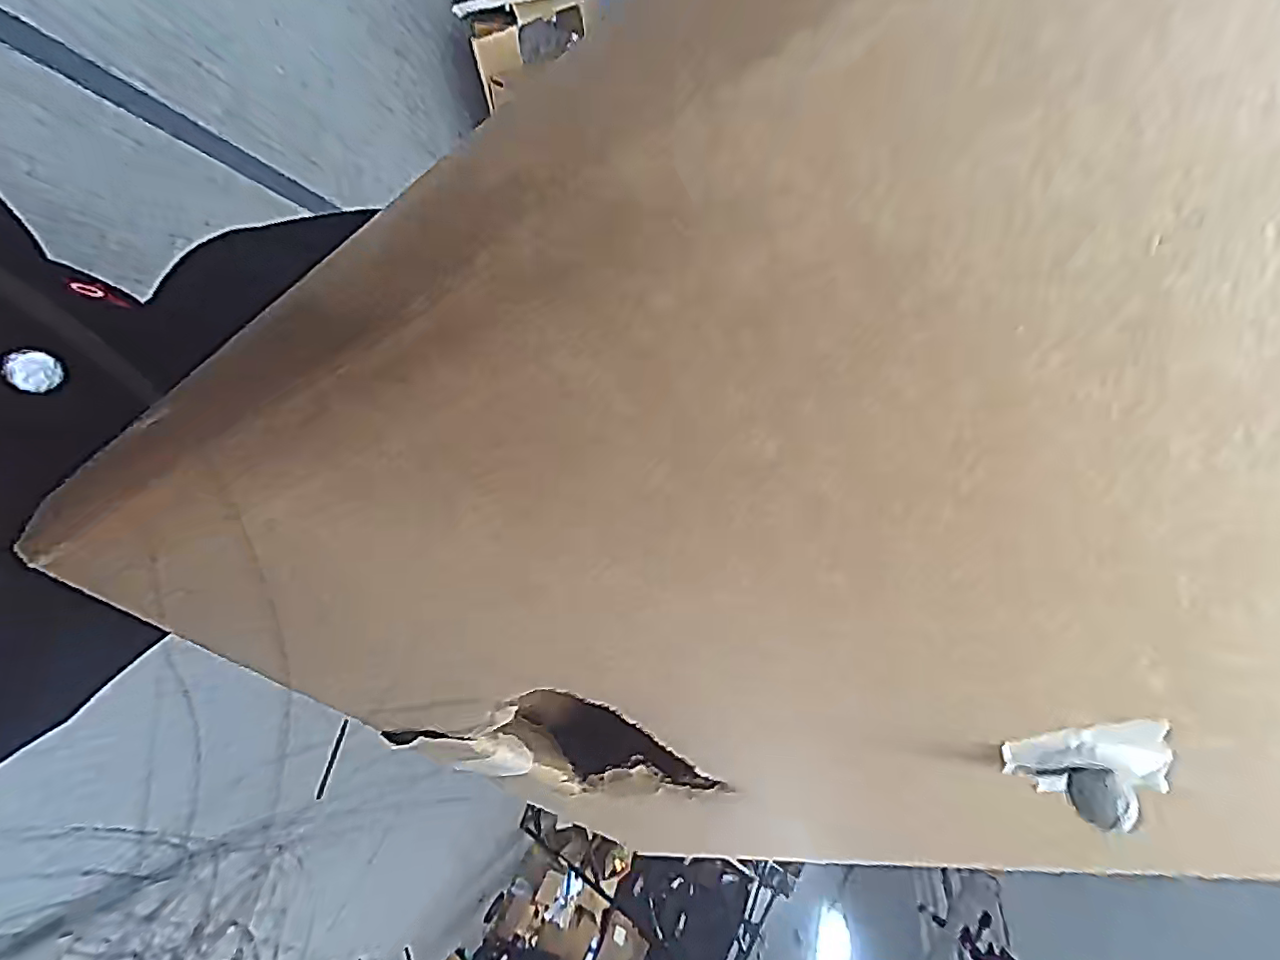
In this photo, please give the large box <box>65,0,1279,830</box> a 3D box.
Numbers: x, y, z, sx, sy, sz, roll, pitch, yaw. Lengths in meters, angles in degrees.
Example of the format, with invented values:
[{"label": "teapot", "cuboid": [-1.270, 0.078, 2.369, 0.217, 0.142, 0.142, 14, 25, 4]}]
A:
[{"label": "large box", "cuboid": [0.068, -0.079, 0.298, 0.320, 0.320, 0.408, 51, 33, -35]}]
